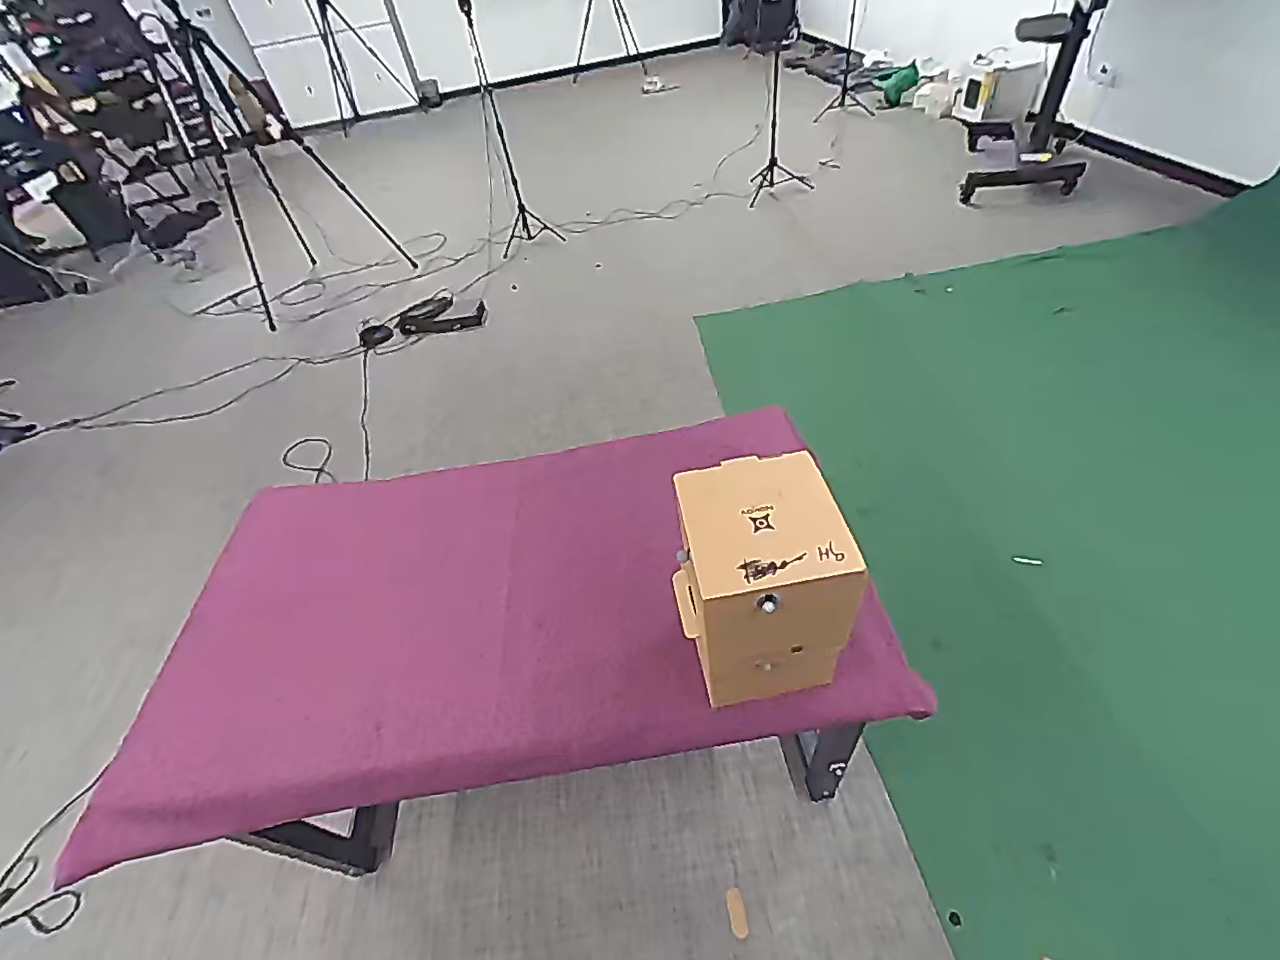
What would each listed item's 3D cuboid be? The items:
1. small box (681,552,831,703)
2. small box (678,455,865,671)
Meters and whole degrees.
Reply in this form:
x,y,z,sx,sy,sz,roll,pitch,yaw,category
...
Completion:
x,y,z,sx,sy,sz,roll,pitch,yaw,category
0.165,0.198,0.773,0.179,0.176,0.168,-12,46,0,small box
0.143,0.099,0.643,0.168,0.176,0.179,-11,45,2,small box
